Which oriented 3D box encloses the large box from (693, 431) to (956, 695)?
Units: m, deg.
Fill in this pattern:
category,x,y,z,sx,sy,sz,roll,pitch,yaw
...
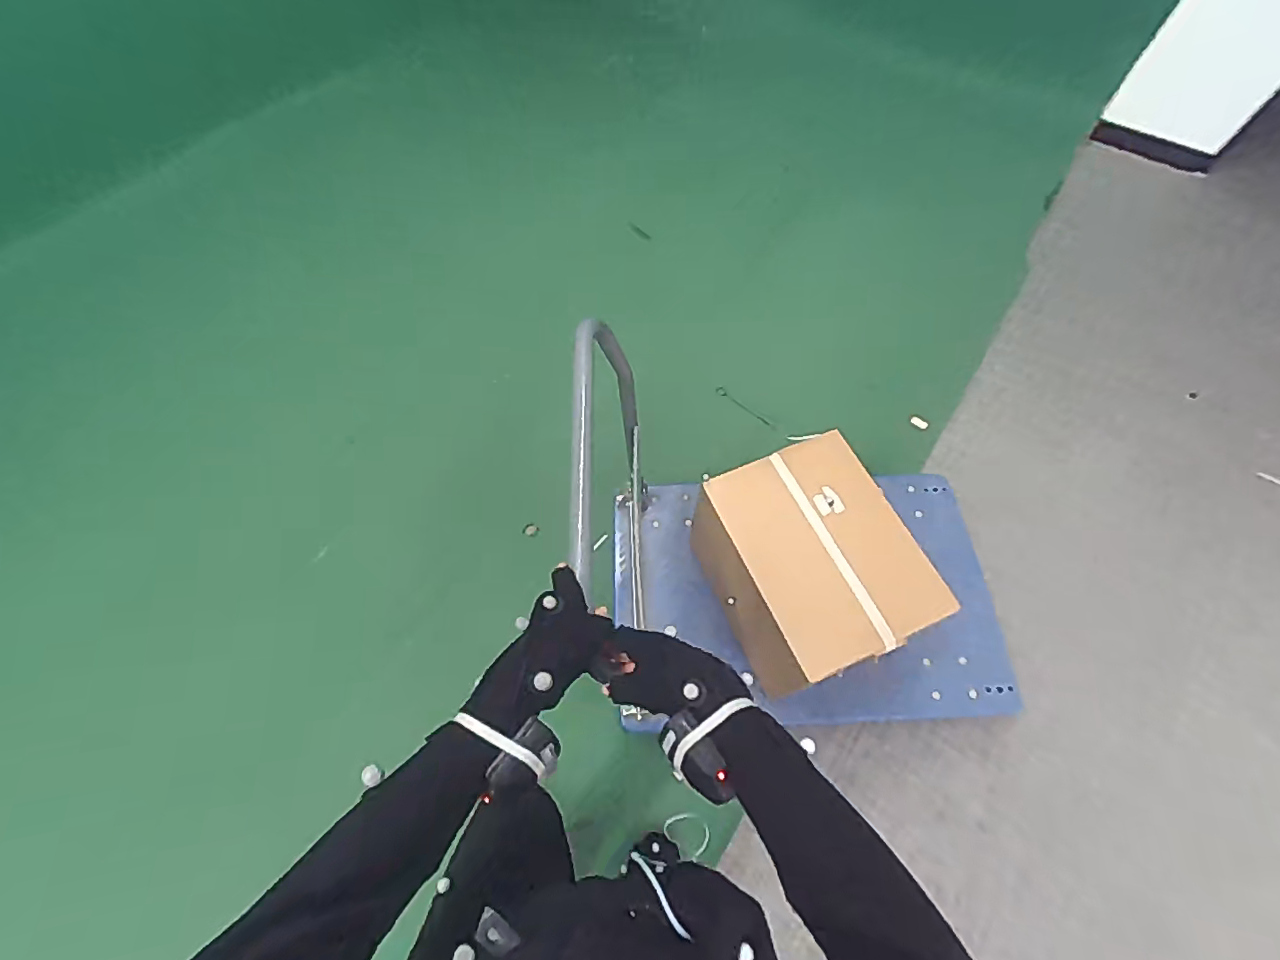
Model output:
category,x,y,z,sx,sy,sz,roll,pitch,yaw
large box,0.340,0.180,1.130,0.320,0.320,0.408,-20,64,-11
